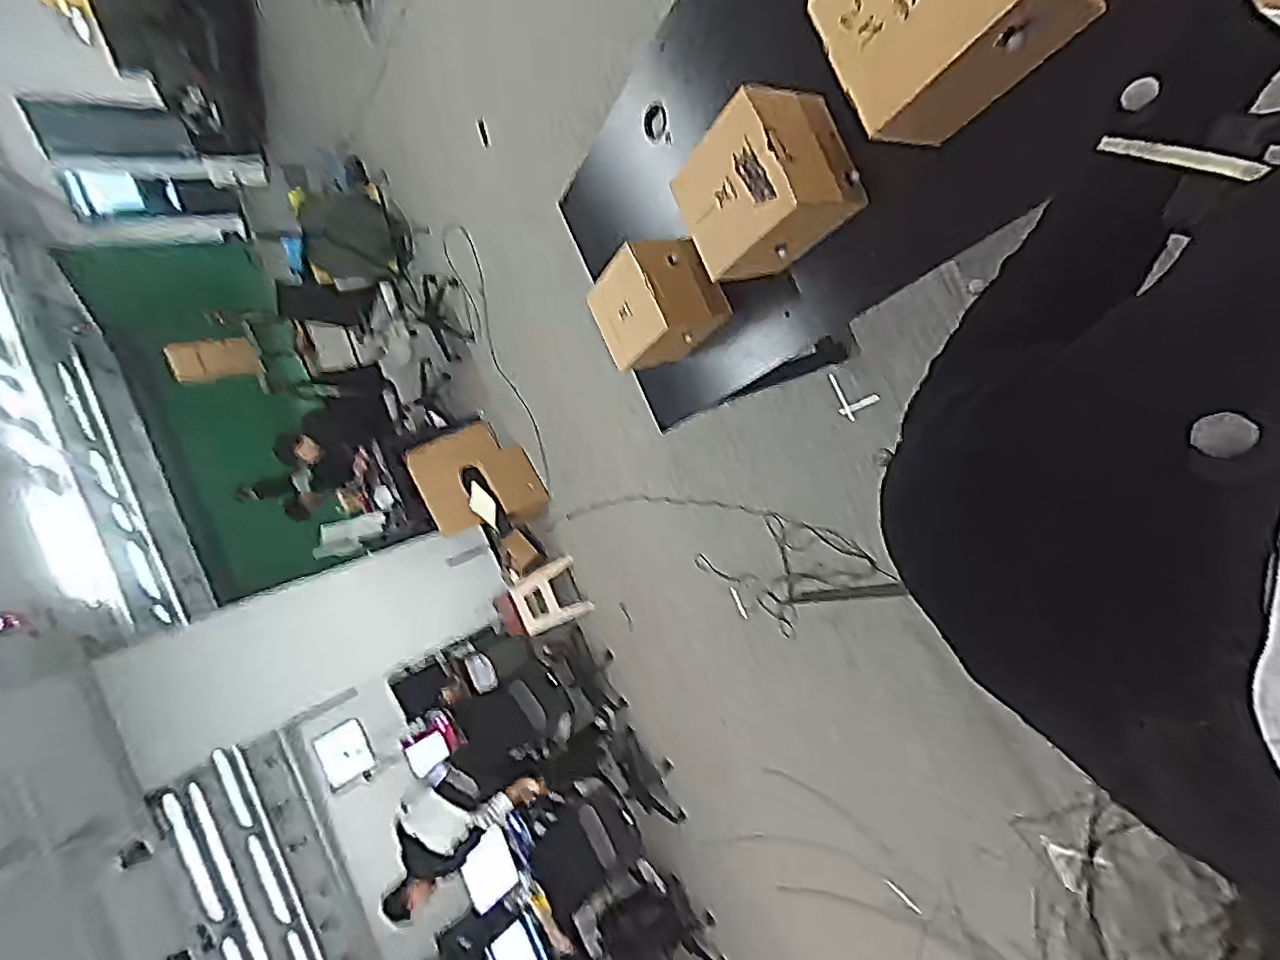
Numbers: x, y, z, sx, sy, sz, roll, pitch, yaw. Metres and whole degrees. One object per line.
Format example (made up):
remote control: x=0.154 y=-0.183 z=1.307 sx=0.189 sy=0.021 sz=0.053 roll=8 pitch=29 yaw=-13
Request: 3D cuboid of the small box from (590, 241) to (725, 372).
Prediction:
small box: x=0.039 y=-0.330 z=1.024 sx=0.179 sy=0.176 sz=0.168 roll=-32 pitch=81 yaw=56

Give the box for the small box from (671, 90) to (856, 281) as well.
small box: x=0.182 y=-0.416 z=0.781 sx=0.179 sy=0.176 sz=0.168 roll=-26 pitch=86 yaw=56

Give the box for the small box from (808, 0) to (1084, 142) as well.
small box: x=0.317 y=-0.487 z=0.558 sx=0.179 sy=0.176 sz=0.168 roll=-29 pitch=84 yaw=55
